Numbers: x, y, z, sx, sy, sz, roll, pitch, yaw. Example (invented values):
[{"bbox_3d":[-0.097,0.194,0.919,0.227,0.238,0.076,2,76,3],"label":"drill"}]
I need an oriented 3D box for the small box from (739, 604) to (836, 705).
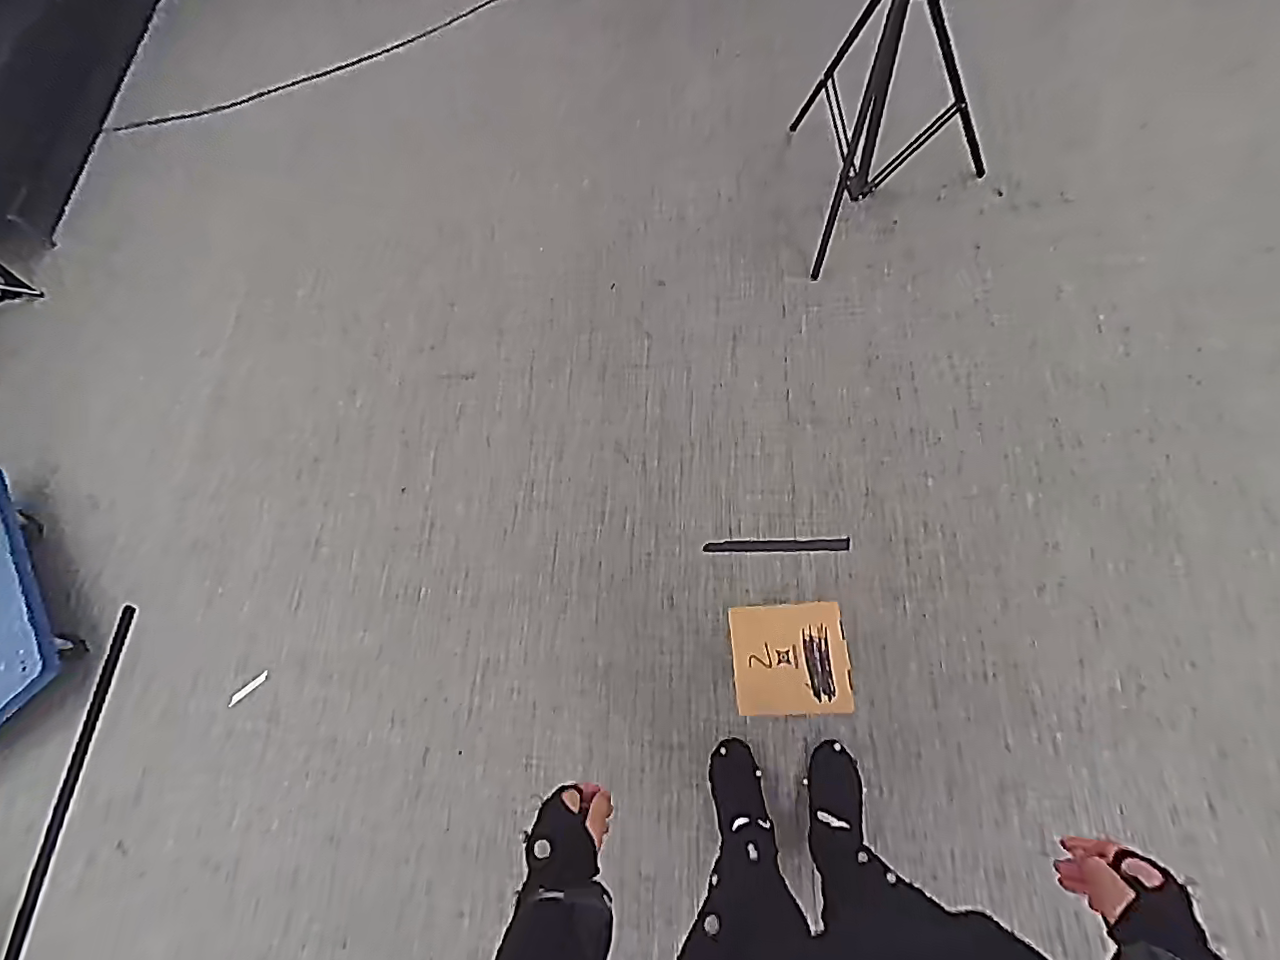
[{"bbox_3d":[0.282,0.344,1.067,0.168,0.176,0.179,-4,71,11],"label":"small box"}]
